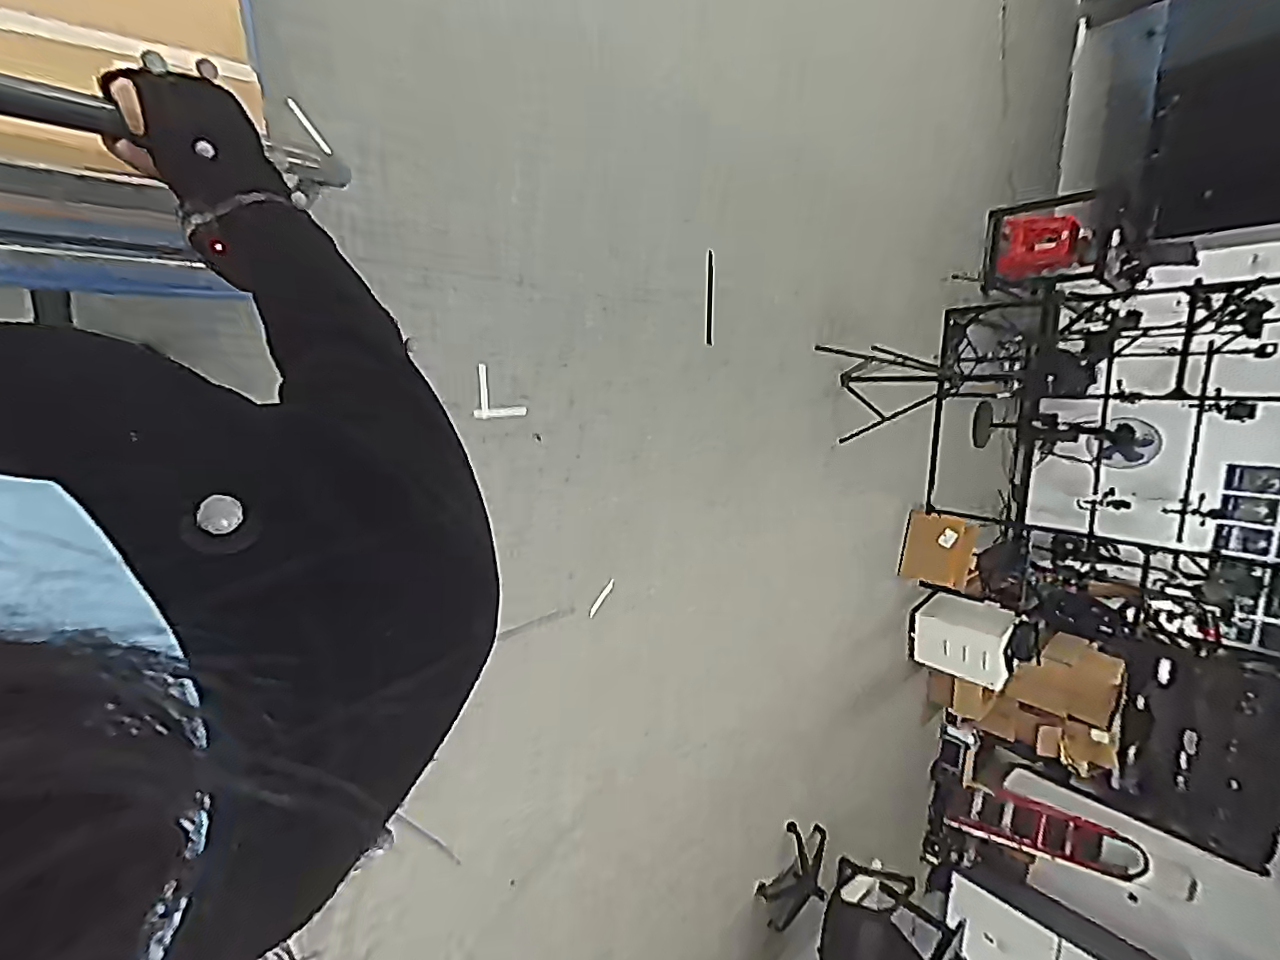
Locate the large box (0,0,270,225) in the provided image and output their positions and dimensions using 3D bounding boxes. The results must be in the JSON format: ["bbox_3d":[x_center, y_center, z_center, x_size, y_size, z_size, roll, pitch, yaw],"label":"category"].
[{"bbox_3d":[-0.830,-0.580,0.781,0.408,0.320,0.320,-16,108,-41],"label":"large box"}]
